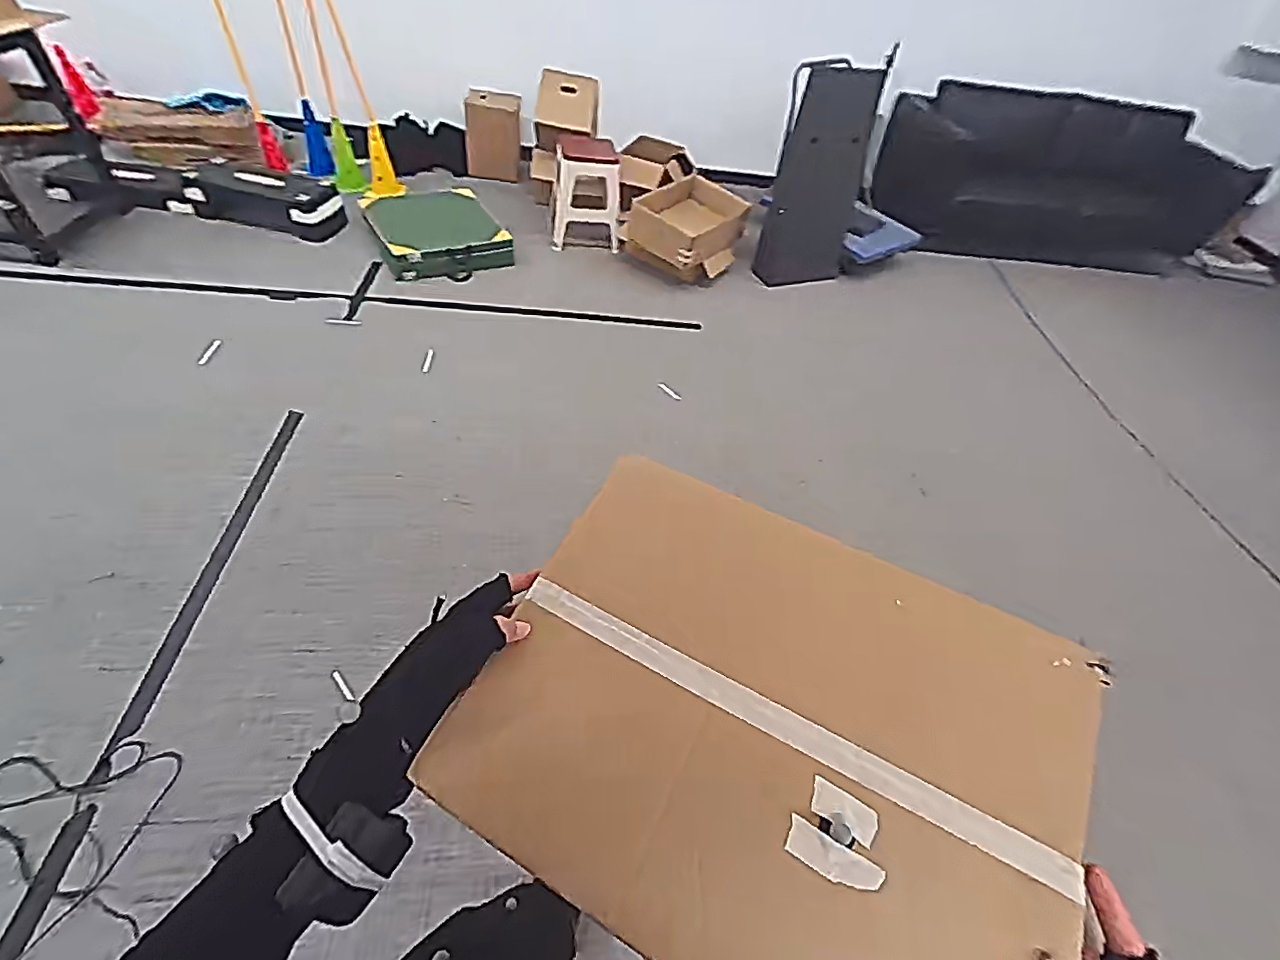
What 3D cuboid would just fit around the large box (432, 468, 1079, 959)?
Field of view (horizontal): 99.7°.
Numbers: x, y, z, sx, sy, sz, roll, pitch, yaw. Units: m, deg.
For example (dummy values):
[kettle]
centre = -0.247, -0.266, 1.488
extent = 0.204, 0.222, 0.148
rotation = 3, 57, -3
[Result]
[large box]
centre = 0.096, 0.254, 0.526
extent = 0.408, 0.320, 0.320
rotation = 24, 62, 17
